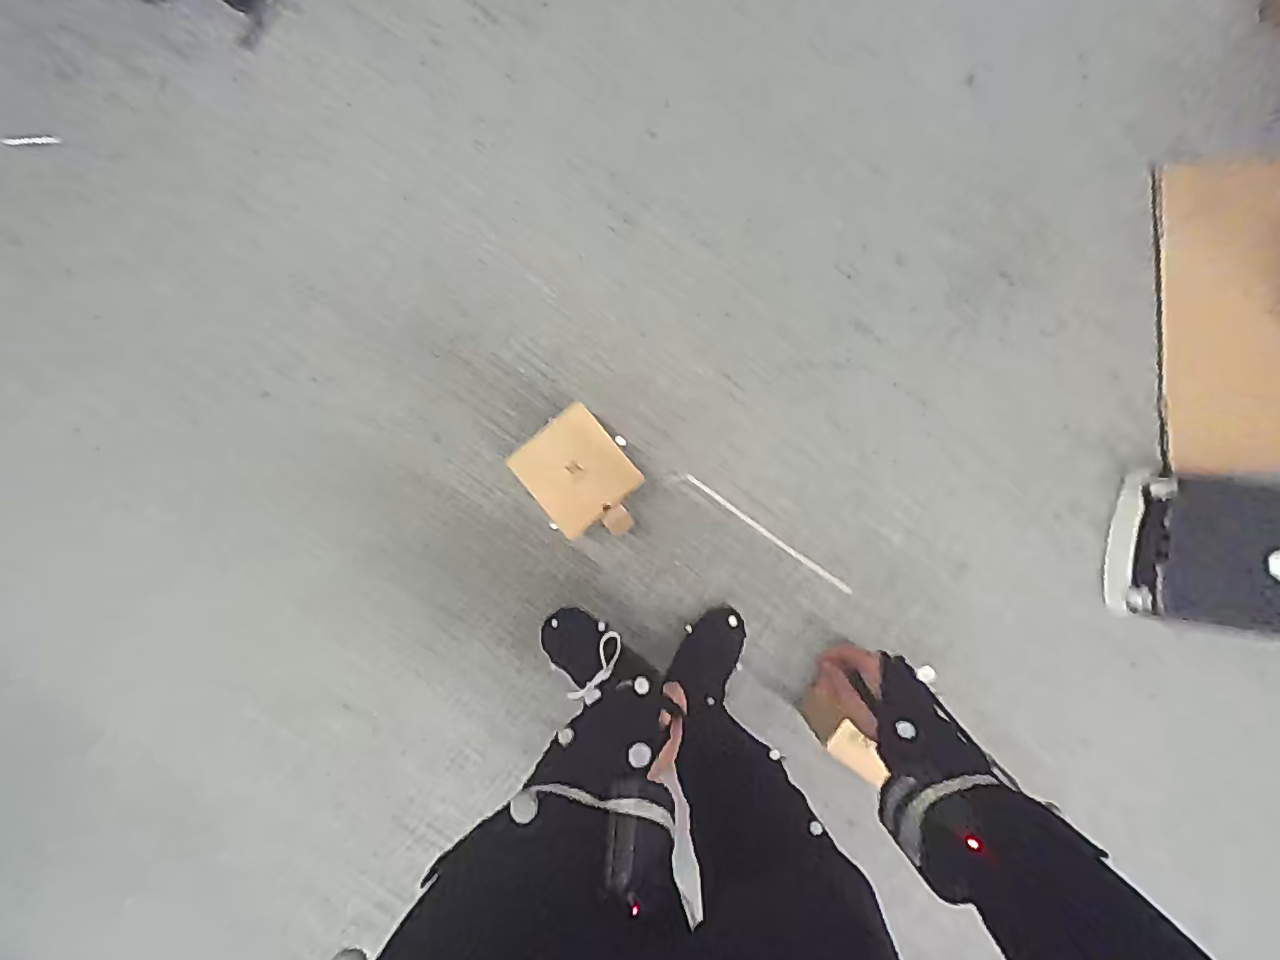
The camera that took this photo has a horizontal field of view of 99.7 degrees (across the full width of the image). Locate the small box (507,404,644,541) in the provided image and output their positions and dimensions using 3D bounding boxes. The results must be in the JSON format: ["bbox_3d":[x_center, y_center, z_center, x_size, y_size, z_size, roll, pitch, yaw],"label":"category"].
[{"bbox_3d":[-0.111,-0.012,0.983,0.168,0.176,0.179,-39,92,-1],"label":"small box"}]
